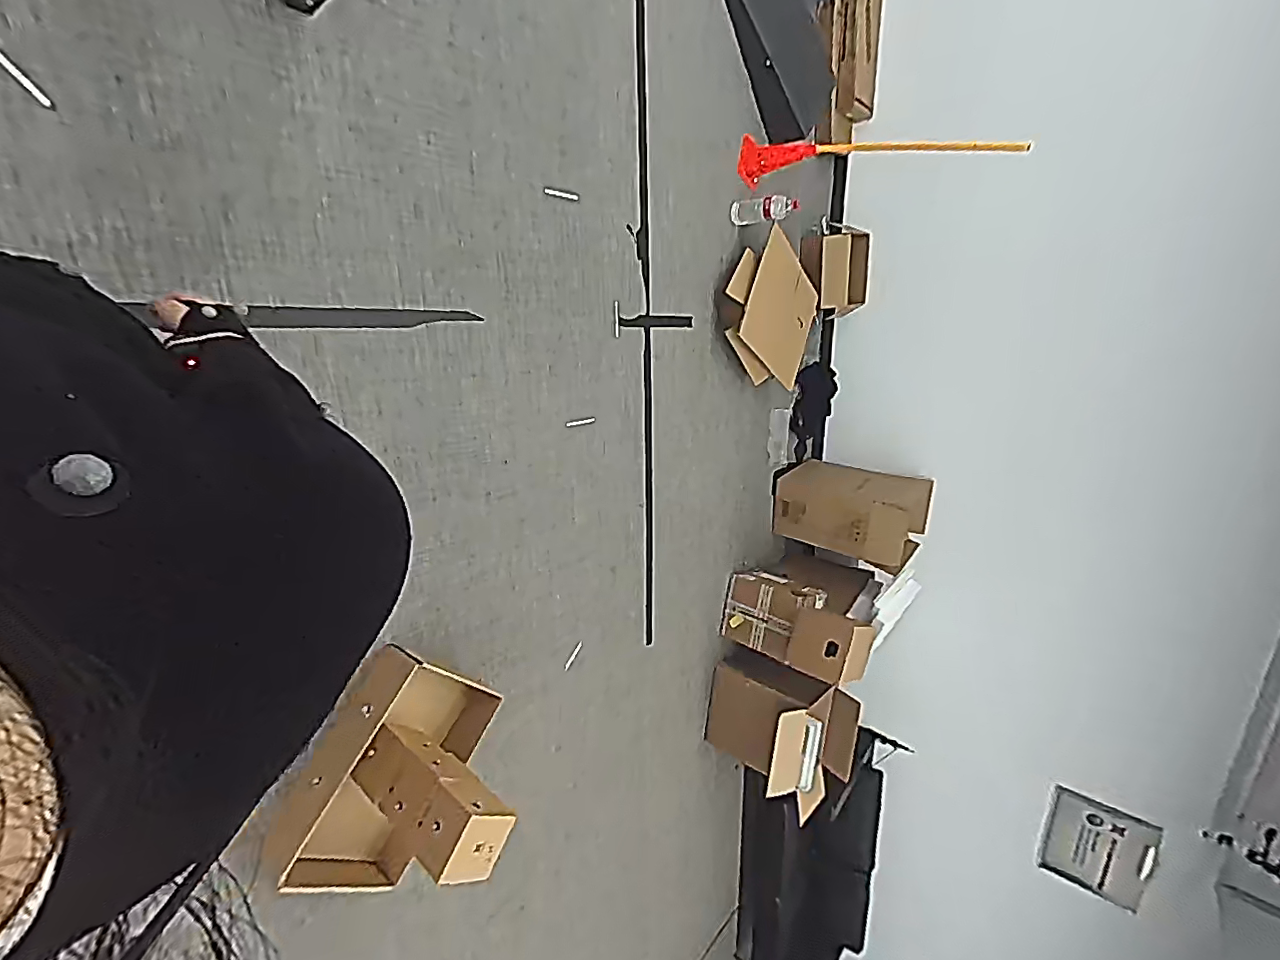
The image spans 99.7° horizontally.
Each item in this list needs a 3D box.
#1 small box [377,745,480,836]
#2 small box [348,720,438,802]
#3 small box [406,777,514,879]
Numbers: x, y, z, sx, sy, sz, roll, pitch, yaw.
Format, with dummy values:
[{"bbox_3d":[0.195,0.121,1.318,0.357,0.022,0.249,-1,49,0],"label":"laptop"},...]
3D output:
[{"bbox_3d":[-0.602,0.877,1.533,0.179,0.176,0.168,45,67,-49],"label":"small box"},{"bbox_3d":[-0.730,0.851,1.629,0.168,0.176,0.179,-61,139,-19],"label":"small box"},{"bbox_3d":[-0.478,0.912,1.429,0.179,0.176,0.168,44,68,-48],"label":"small box"}]
